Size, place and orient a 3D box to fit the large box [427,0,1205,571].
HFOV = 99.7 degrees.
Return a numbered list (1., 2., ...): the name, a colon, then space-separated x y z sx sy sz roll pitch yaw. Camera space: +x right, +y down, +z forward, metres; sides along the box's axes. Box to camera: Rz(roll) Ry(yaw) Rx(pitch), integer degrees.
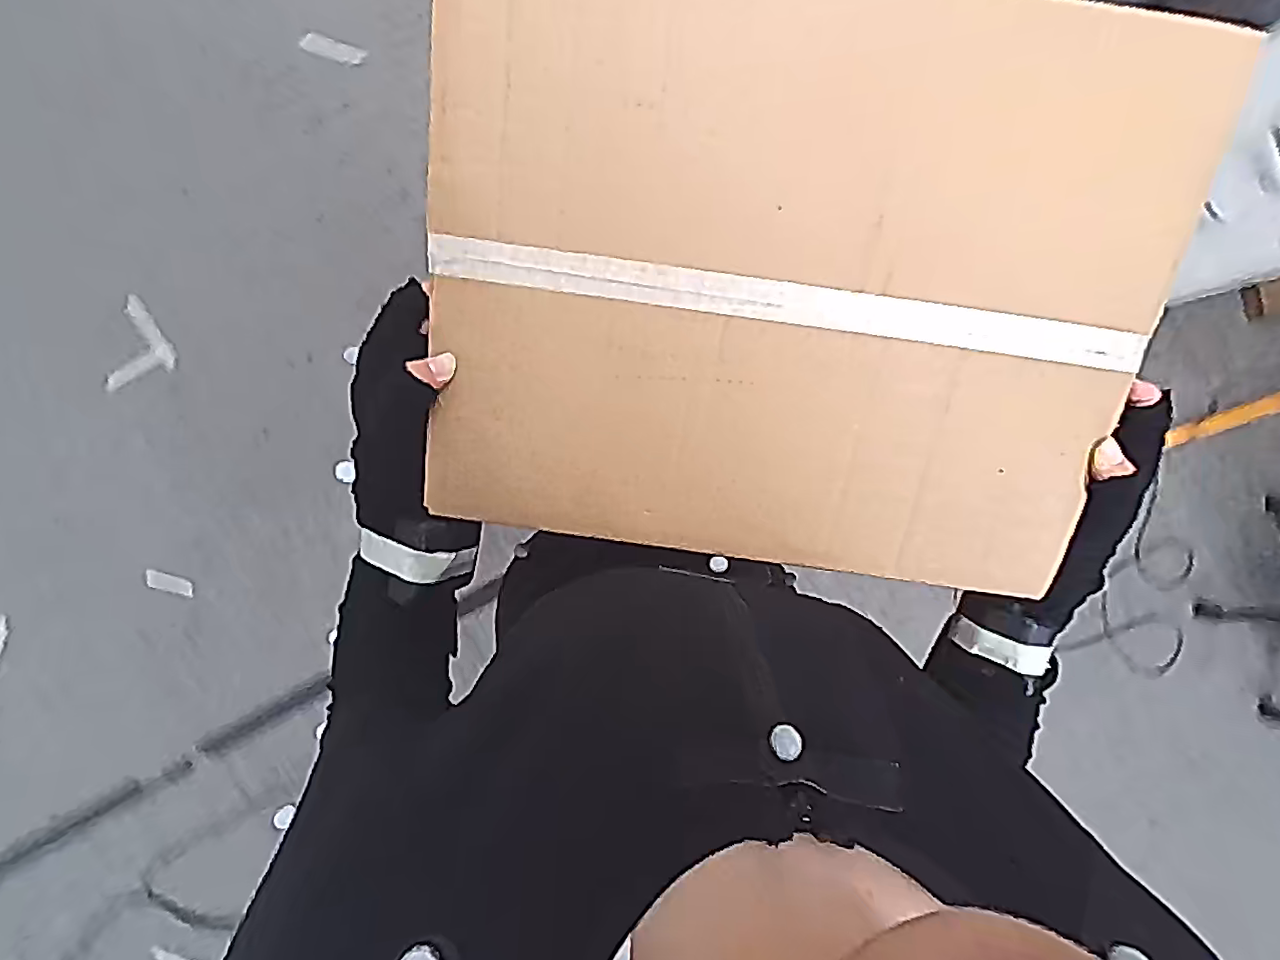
1. large box: 0.076 -0.145 0.456 0.408 0.320 0.320 6 108 -1
